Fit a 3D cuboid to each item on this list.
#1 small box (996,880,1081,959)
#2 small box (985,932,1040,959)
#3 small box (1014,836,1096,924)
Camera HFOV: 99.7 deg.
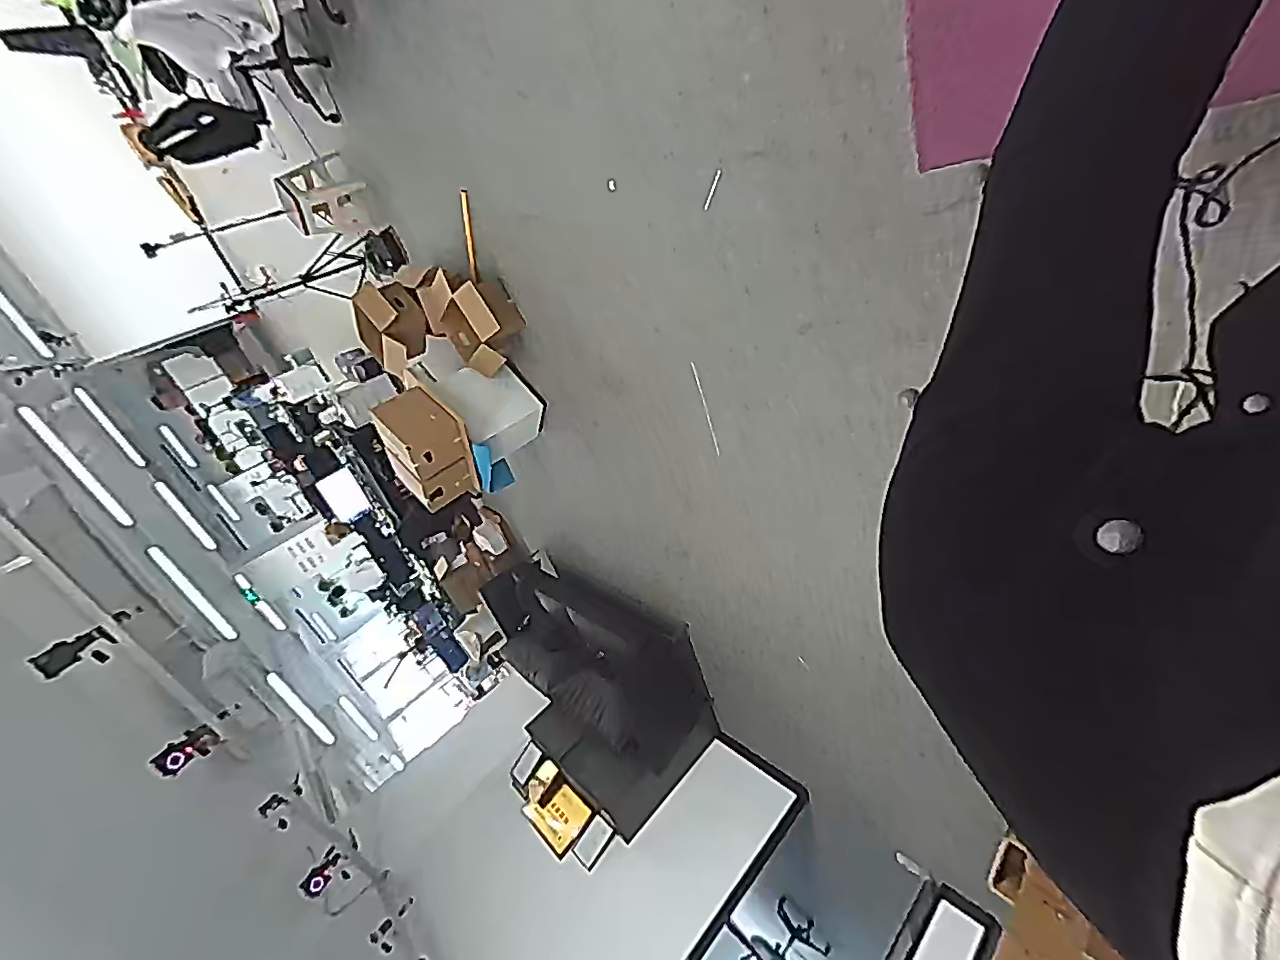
[{"bbox_3d":[1.167,1.342,1.593,0.168,0.176,0.179,20,135,43],"label":"small box"},{"bbox_3d":[1.053,1.422,1.508,0.168,0.176,0.179,20,137,43],"label":"small box"},{"bbox_3d":[1.281,1.262,1.678,0.168,0.176,0.179,19,136,43],"label":"small box"}]
